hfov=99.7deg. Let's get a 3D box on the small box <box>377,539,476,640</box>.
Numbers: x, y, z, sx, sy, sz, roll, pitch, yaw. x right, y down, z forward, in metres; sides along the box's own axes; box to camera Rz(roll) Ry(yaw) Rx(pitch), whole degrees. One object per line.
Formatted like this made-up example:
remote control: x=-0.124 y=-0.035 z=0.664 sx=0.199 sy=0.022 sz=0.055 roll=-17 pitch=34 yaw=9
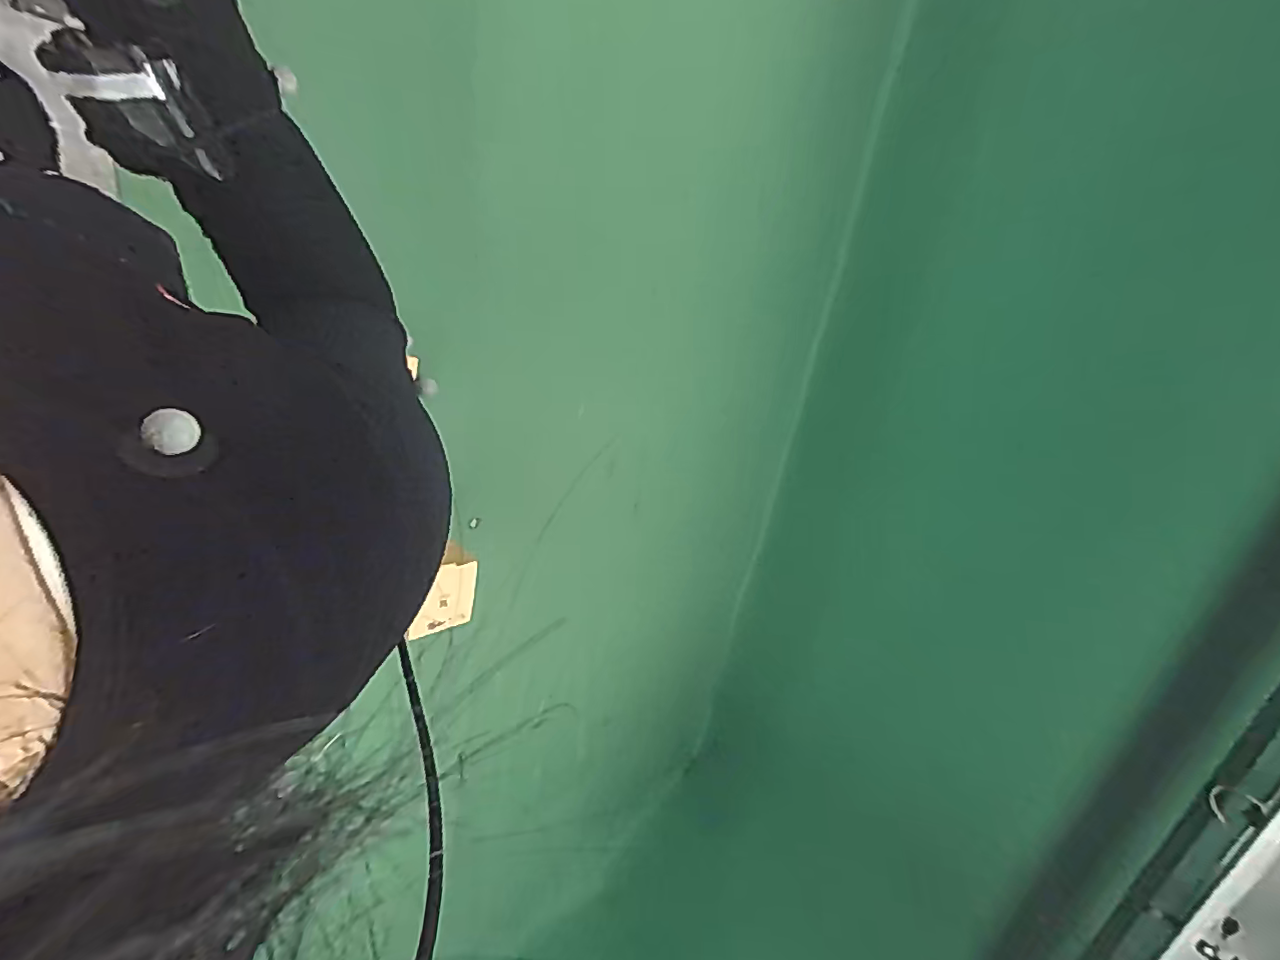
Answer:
small box: x=-0.530 y=0.257 z=1.335 sx=0.168 sy=0.176 sz=0.179 roll=-8 pitch=116 yaw=-49
